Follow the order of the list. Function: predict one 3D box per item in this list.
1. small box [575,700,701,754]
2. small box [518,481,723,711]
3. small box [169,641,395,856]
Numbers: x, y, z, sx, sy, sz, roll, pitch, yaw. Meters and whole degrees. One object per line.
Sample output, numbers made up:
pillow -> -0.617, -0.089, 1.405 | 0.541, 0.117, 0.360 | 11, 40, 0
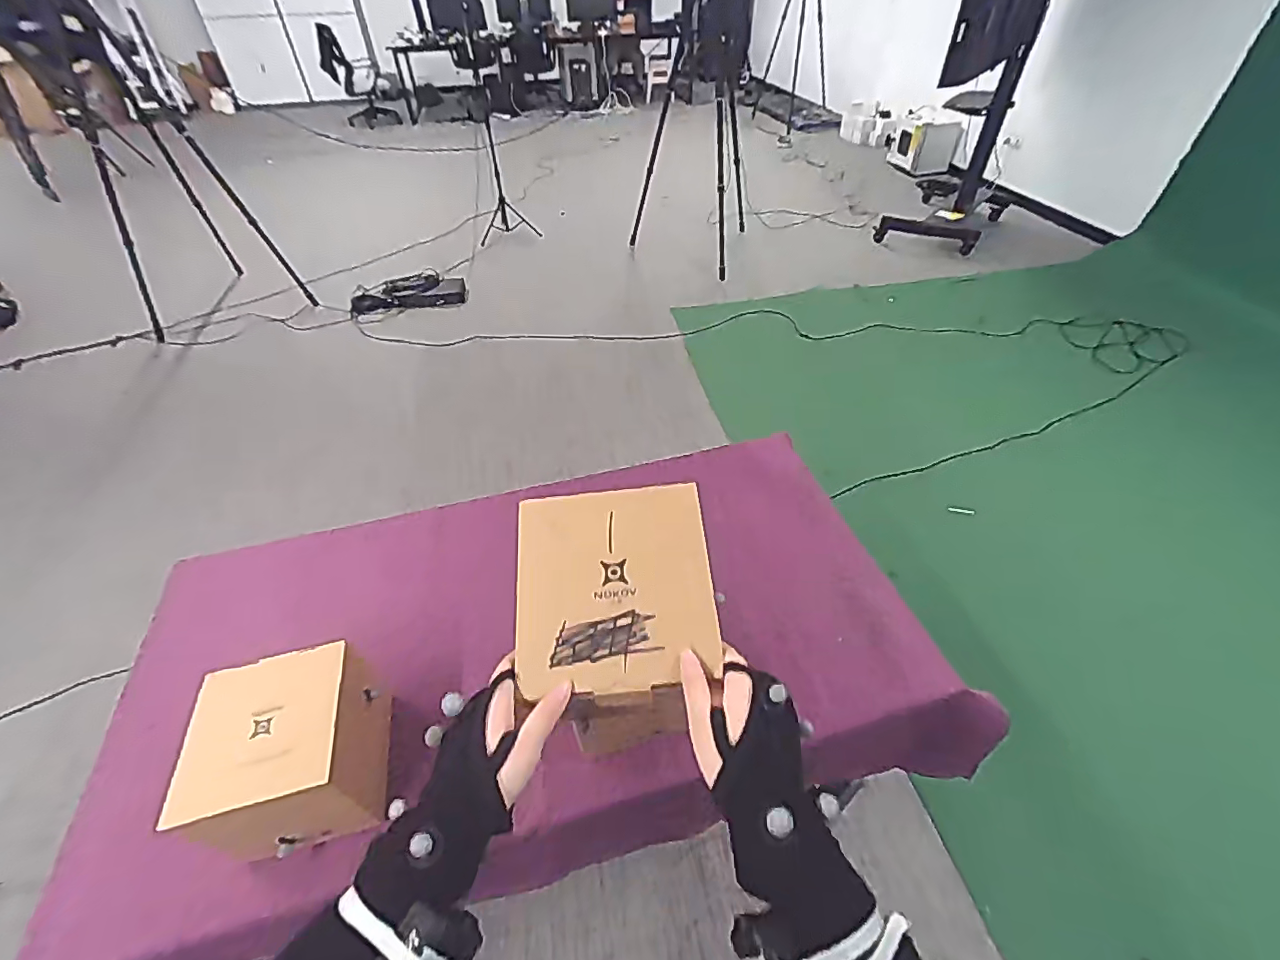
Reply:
small box -> -0.019, 0.245, 0.750 | 0.168, 0.176, 0.179 | -13, 45, -9
small box -> -0.016, 0.123, 0.529 | 0.168, 0.176, 0.179 | -6, 60, 0
small box -> -0.423, 0.336, 0.679 | 0.168, 0.176, 0.179 | -12, 47, -9
